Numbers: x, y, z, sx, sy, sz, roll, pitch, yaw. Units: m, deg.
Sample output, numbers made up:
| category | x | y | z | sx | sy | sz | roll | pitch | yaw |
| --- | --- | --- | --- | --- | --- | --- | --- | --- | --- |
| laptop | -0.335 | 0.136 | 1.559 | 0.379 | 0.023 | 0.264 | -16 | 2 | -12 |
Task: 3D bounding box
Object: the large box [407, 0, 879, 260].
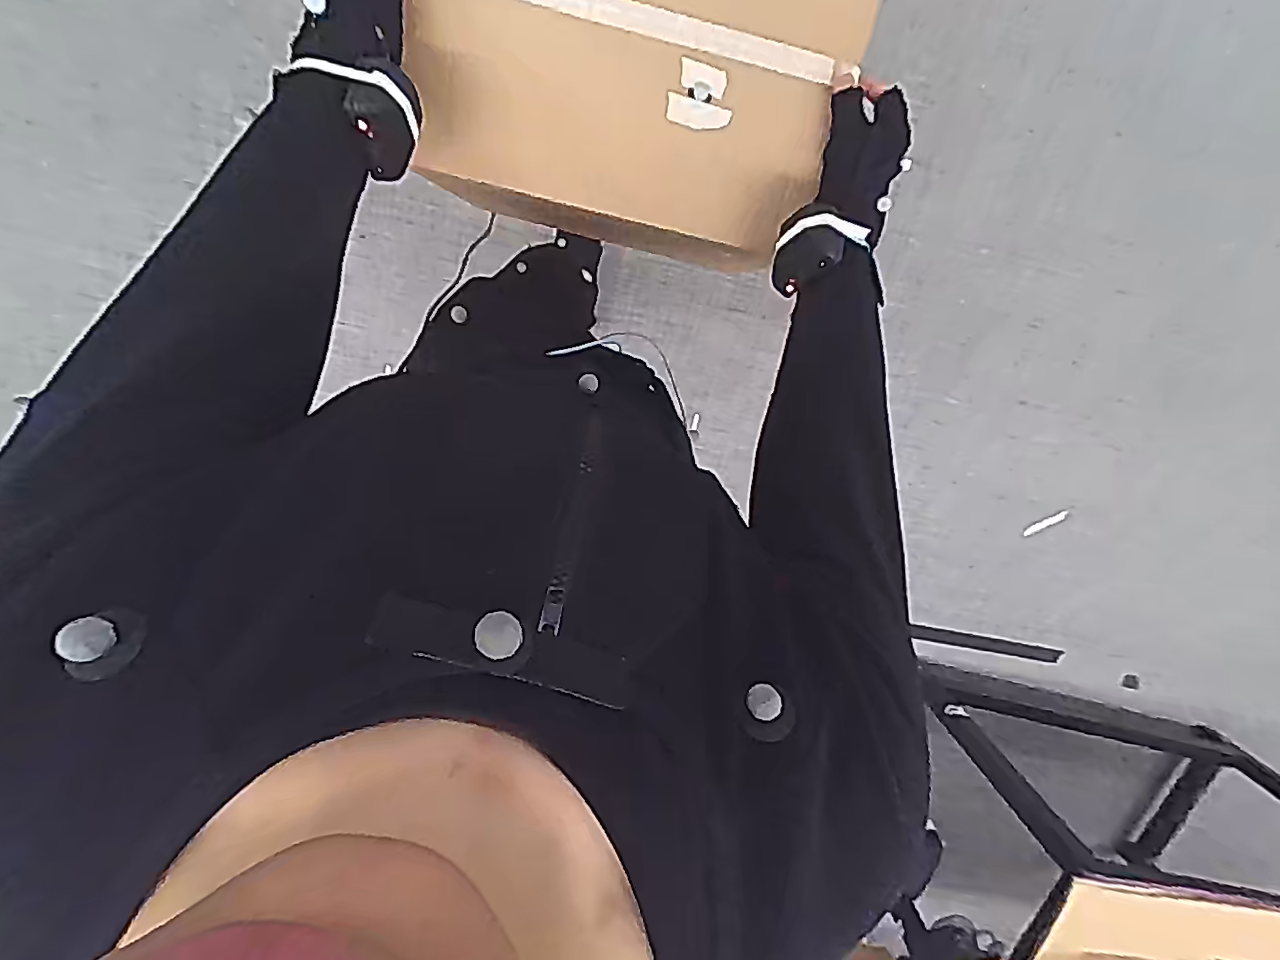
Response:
| category | x | y | z | sx | sy | sz | roll | pitch | yaw |
| --- | --- | --- | --- | --- | --- | --- | --- | --- | --- |
| large box | -0.001 | -0.462 | 0.617 | 0.408 | 0.320 | 0.320 | 12 | 109 | -7 |
